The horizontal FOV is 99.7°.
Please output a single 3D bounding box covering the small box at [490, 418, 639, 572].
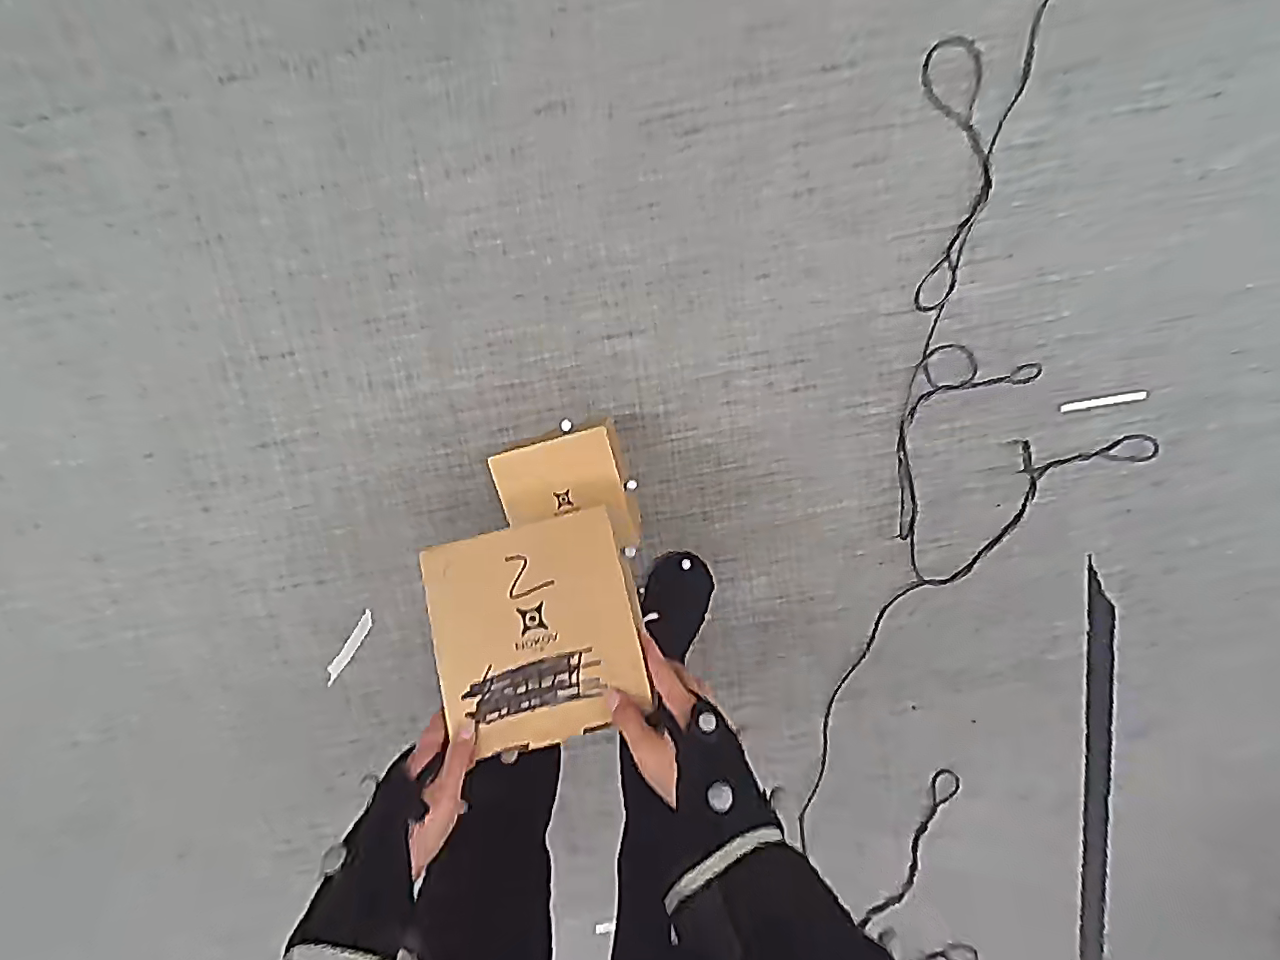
[{"bbox_3d":[-0.104,0.011,0.810,0.168,0.176,0.179,-16,102,2],"label":"small box"}]
